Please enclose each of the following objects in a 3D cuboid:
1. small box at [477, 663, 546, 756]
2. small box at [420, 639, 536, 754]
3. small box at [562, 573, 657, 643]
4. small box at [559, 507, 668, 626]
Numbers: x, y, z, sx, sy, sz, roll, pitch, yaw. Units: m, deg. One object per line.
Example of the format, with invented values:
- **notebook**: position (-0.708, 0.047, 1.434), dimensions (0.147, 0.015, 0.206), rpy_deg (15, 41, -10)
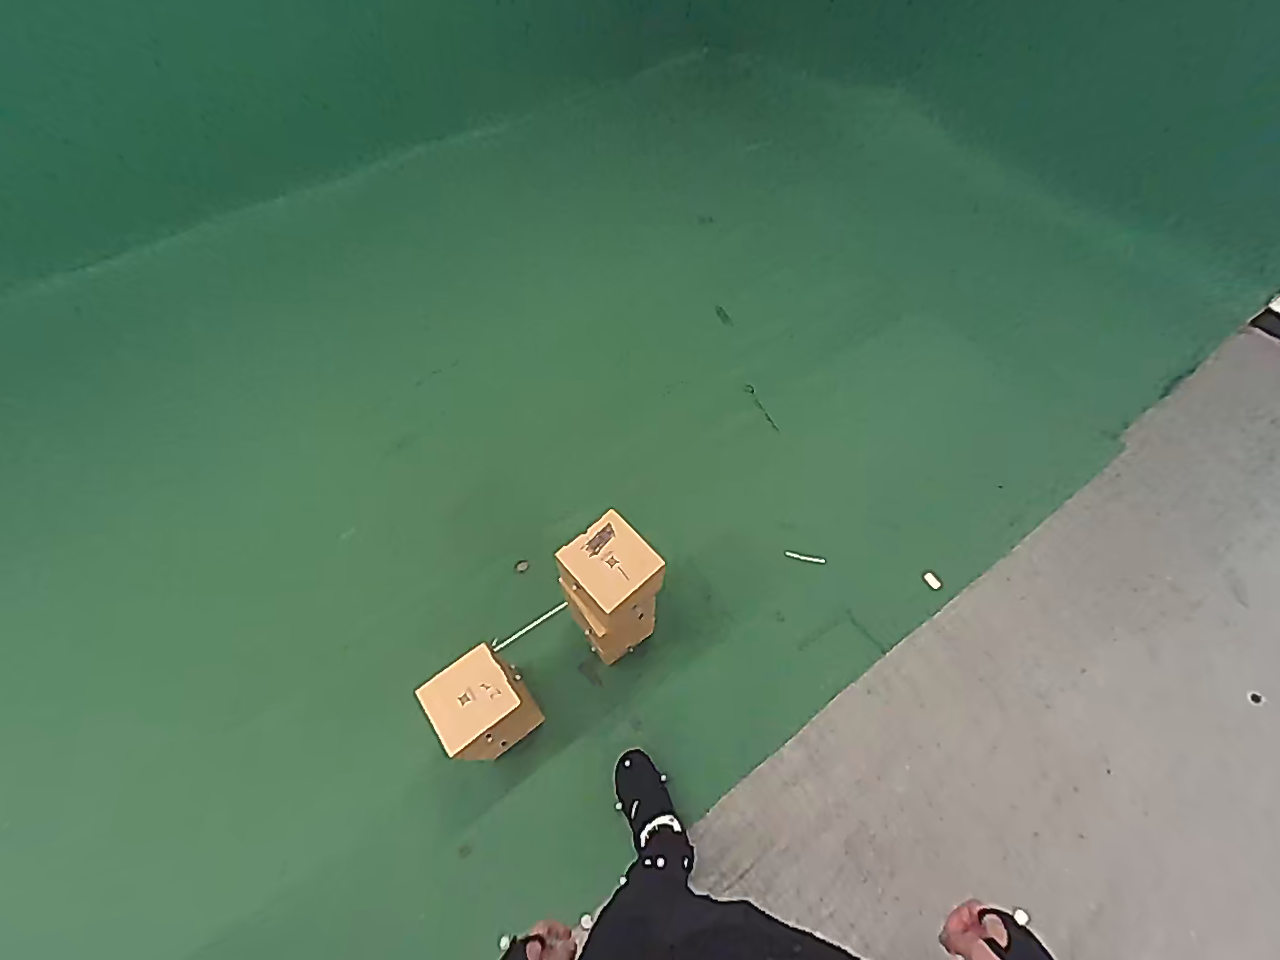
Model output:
- **small box**: position (-0.359, 0.574, 1.378), dimensions (0.168, 0.176, 0.179), rpy_deg (-34, 65, -16)
- **small box**: position (-0.362, 0.499, 1.232), dimensions (0.179, 0.176, 0.168), rpy_deg (-34, 65, -17)
- **small box**: position (-0.072, 0.285, 1.347), dimensions (0.168, 0.176, 0.179), rpy_deg (-33, 66, -17)
- **small box**: position (-0.059, 0.199, 1.208), dimensions (0.168, 0.176, 0.179), rpy_deg (-38, 69, -19)
